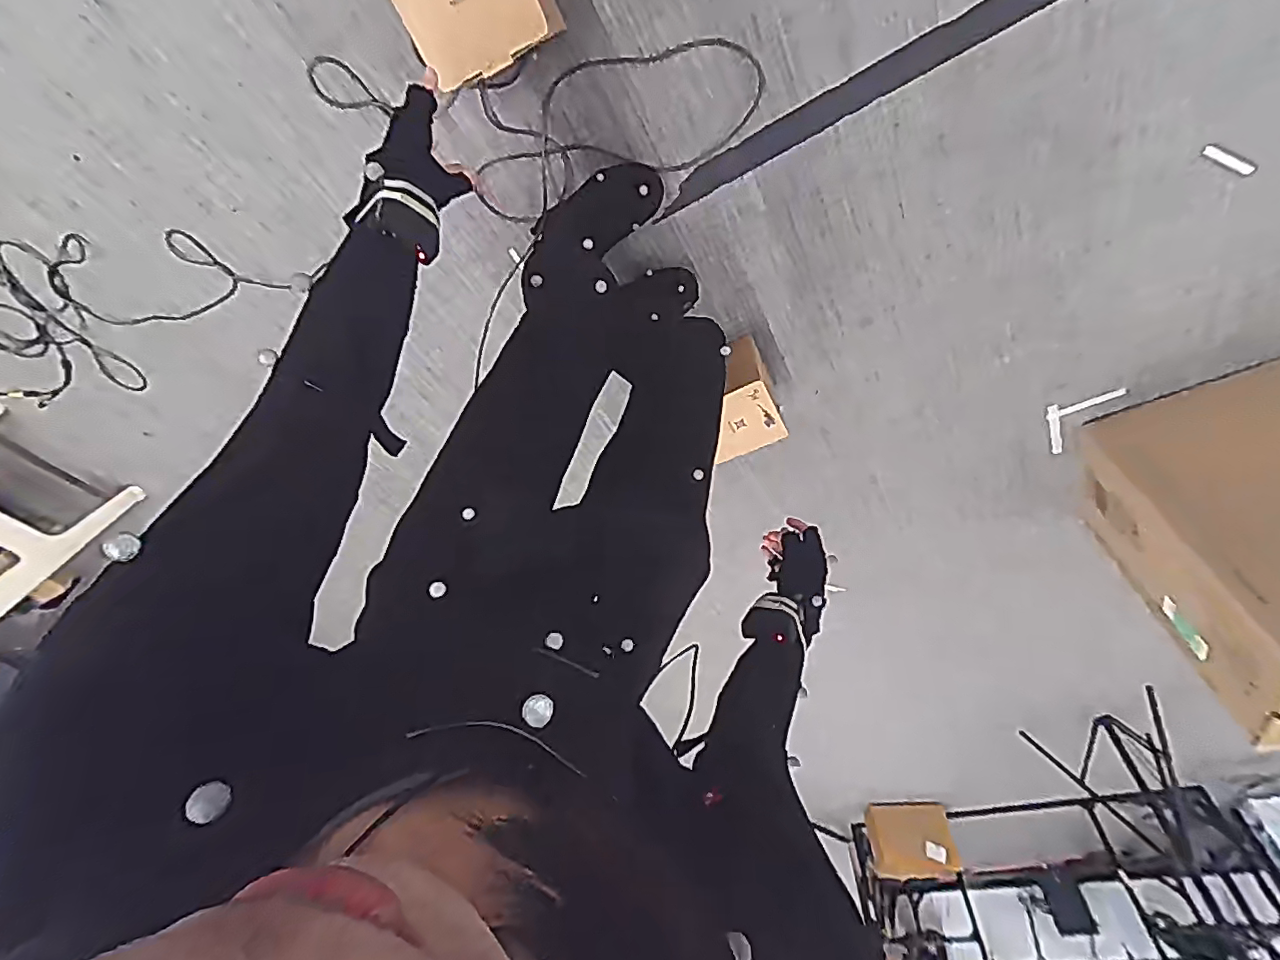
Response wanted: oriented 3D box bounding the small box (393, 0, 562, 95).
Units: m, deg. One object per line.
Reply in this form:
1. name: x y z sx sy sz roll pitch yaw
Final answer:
1. small box: -0.216 -0.644 0.700 0.168 0.176 0.179 -18 128 16

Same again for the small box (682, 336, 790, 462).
1. small box: 0.203 -0.173 1.159 0.179 0.176 0.168 -21 131 22
